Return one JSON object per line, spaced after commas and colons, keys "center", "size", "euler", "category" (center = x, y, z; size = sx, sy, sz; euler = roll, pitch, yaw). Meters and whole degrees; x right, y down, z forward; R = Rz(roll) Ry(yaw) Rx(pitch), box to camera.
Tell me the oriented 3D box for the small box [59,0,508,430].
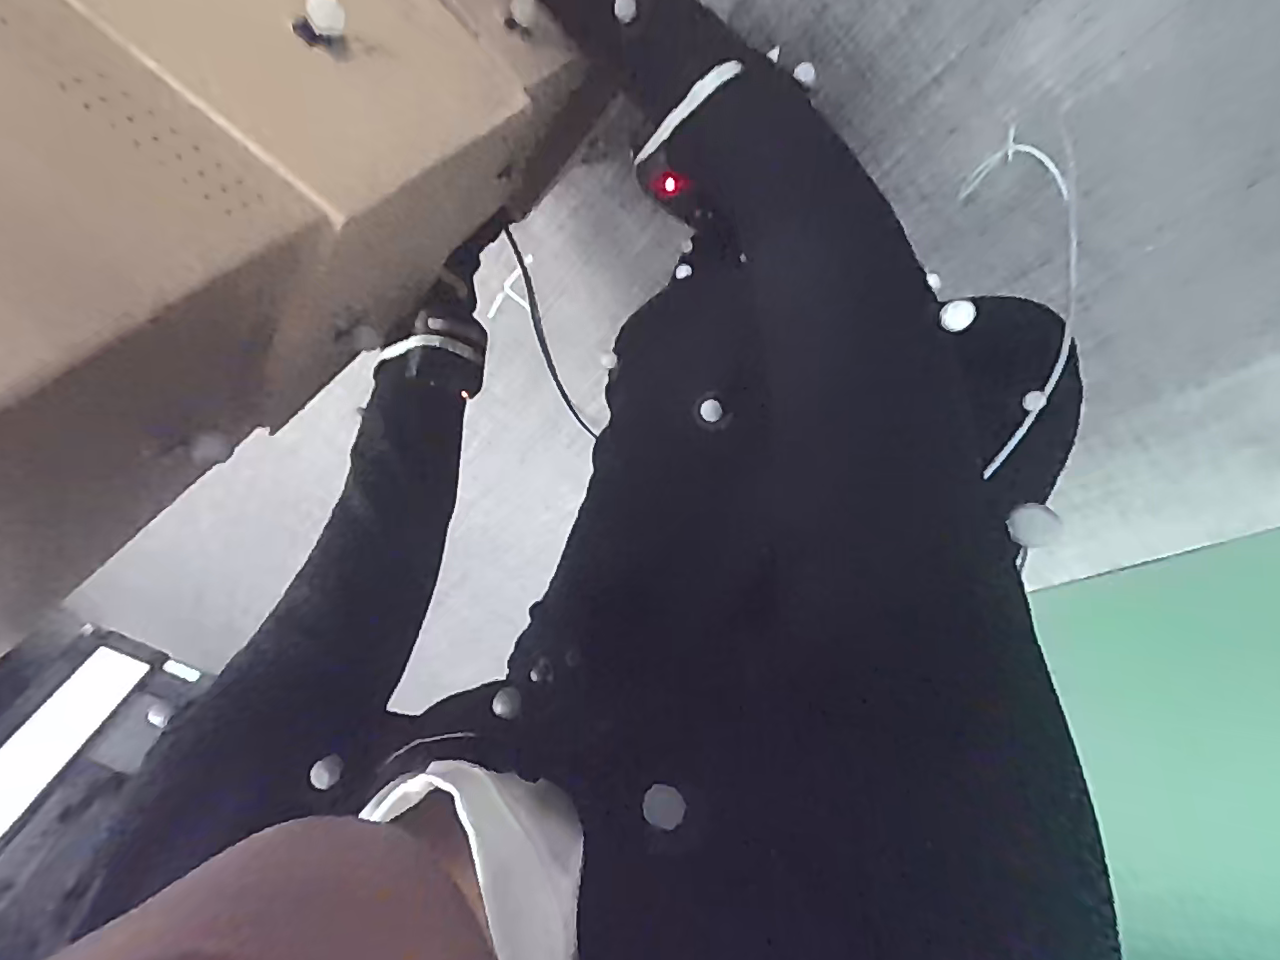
{"center": [-0.190, -0.164, 0.271], "size": [0.168, 0.176, 0.179], "euler": [39, 137, -22], "category": "small box"}
